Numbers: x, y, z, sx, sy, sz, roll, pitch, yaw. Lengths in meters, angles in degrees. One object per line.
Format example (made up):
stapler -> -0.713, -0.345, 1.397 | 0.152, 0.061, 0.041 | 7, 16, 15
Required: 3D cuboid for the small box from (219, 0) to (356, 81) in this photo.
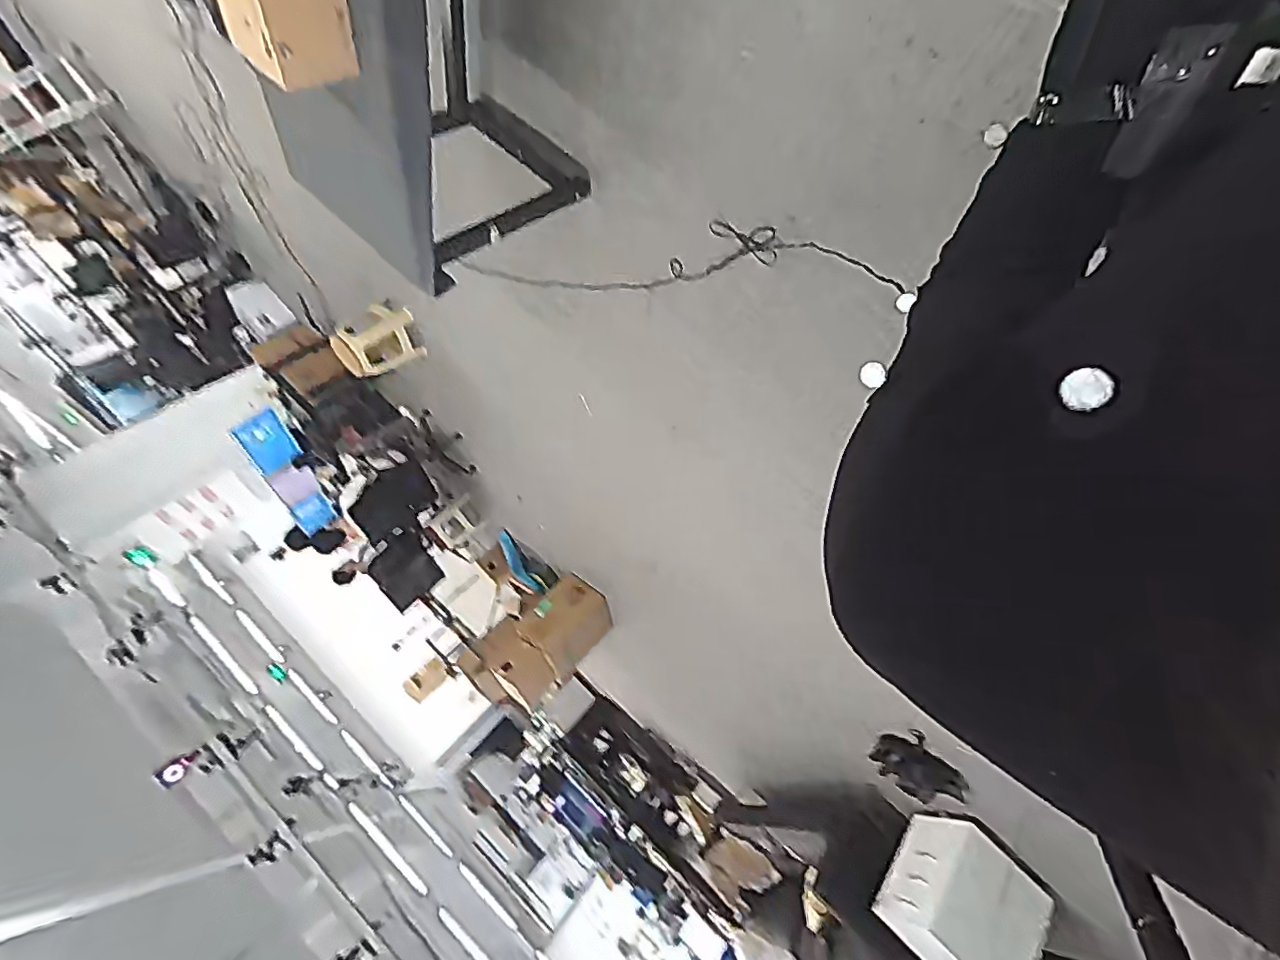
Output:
small box -> -0.686, -0.916, 1.041 | 0.179, 0.176, 0.168 | 42, 150, 10
